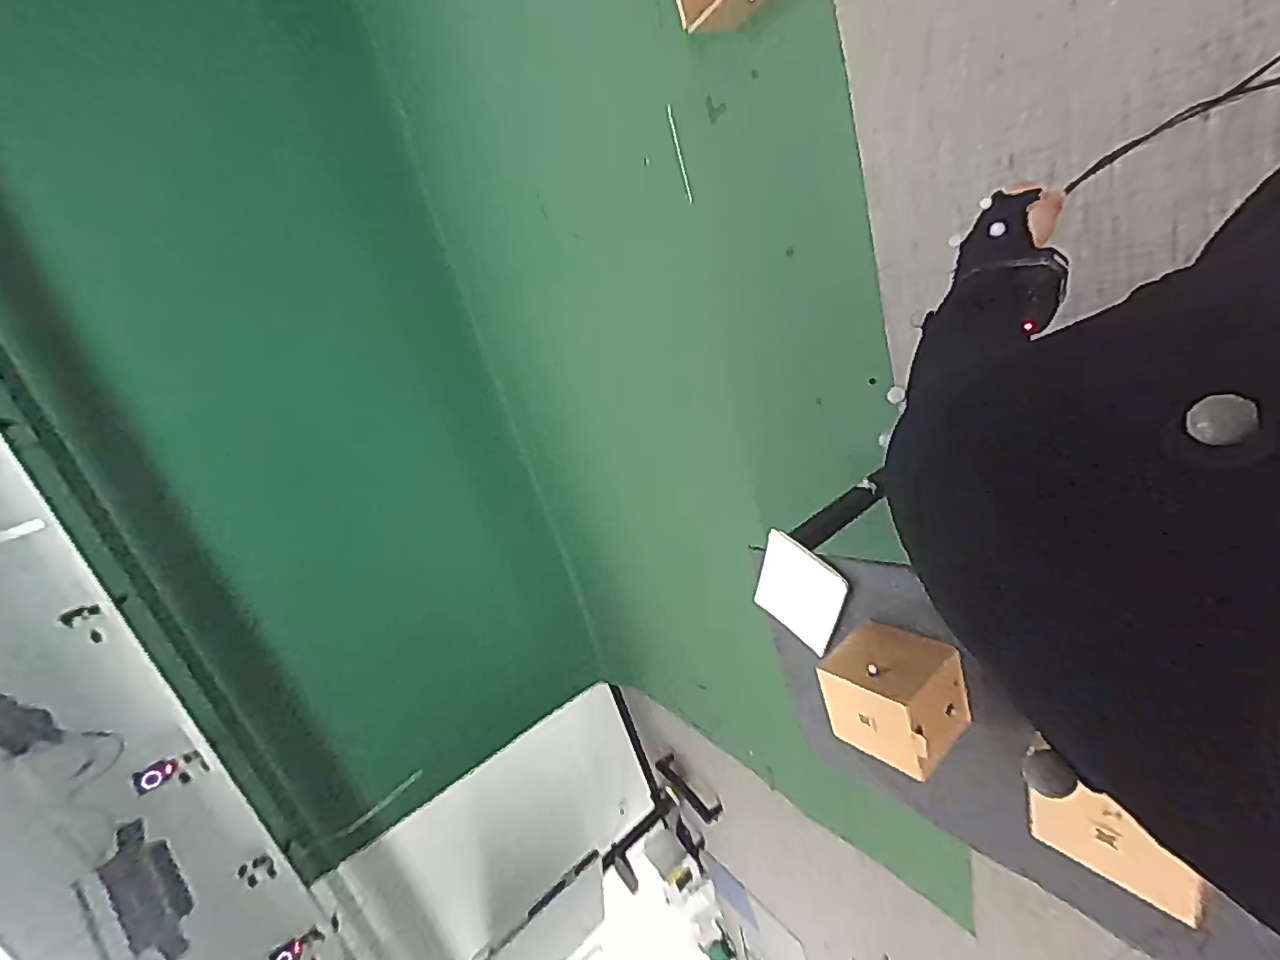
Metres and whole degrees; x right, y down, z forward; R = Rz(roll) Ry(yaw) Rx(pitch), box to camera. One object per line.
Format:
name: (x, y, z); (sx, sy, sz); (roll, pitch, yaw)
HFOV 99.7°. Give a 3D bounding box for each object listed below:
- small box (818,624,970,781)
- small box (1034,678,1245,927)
small box: (0.458, 0.385, 0.976); (0.179, 0.176, 0.168); (6, 119, 55)
small box: (0.639, 0.399, 0.699); (0.168, 0.176, 0.179); (12, 124, 53)
